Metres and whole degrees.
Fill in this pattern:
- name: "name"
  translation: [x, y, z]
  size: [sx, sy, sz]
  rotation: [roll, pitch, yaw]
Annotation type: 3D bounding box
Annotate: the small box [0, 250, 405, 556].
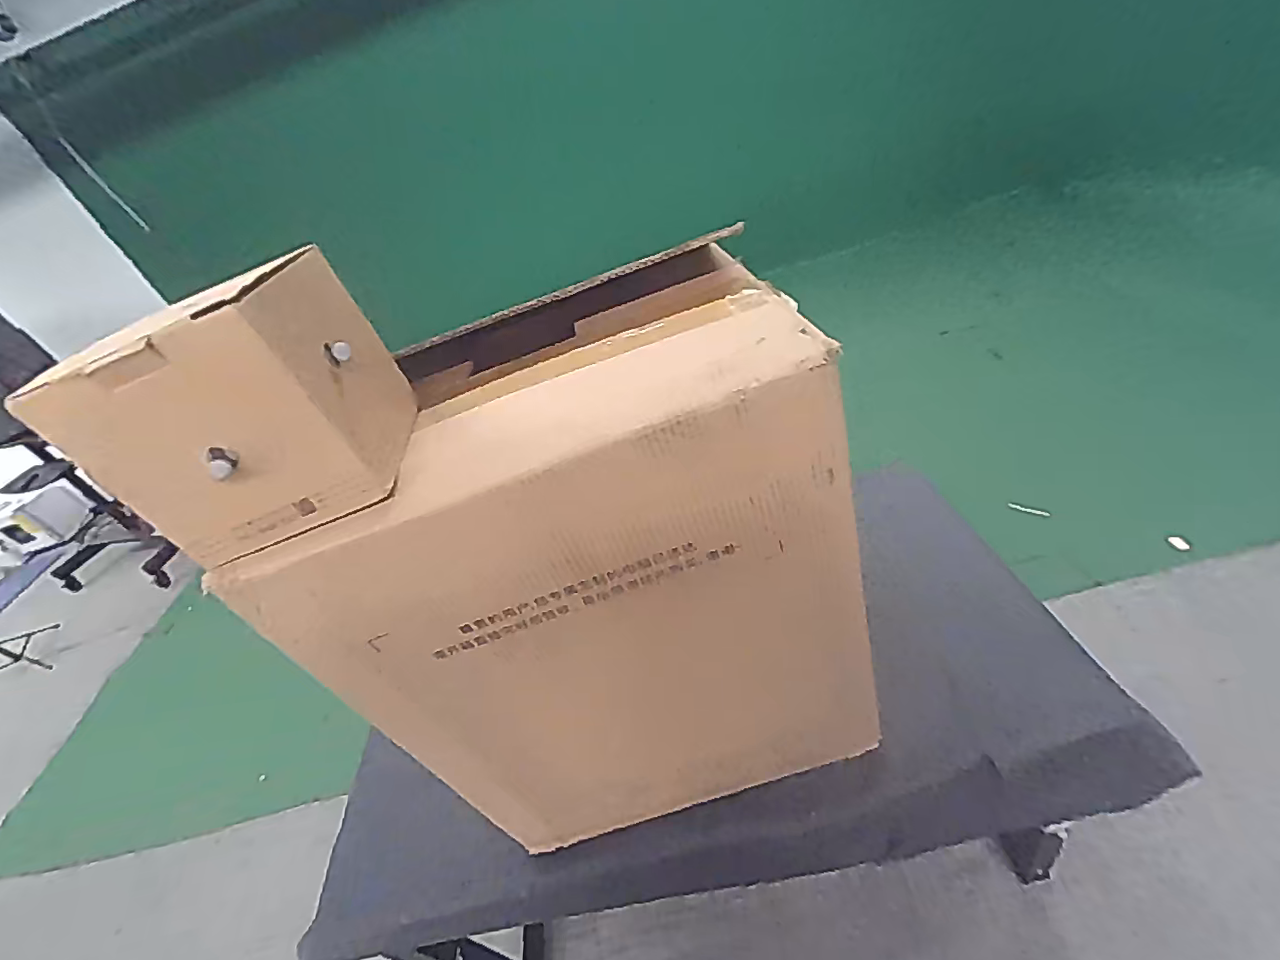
- name: "small box"
  translation: [-0.323, -0.059, 0.450]
  size: [0.168, 0.176, 0.179]
  rotation: [-22, 37, 3]
